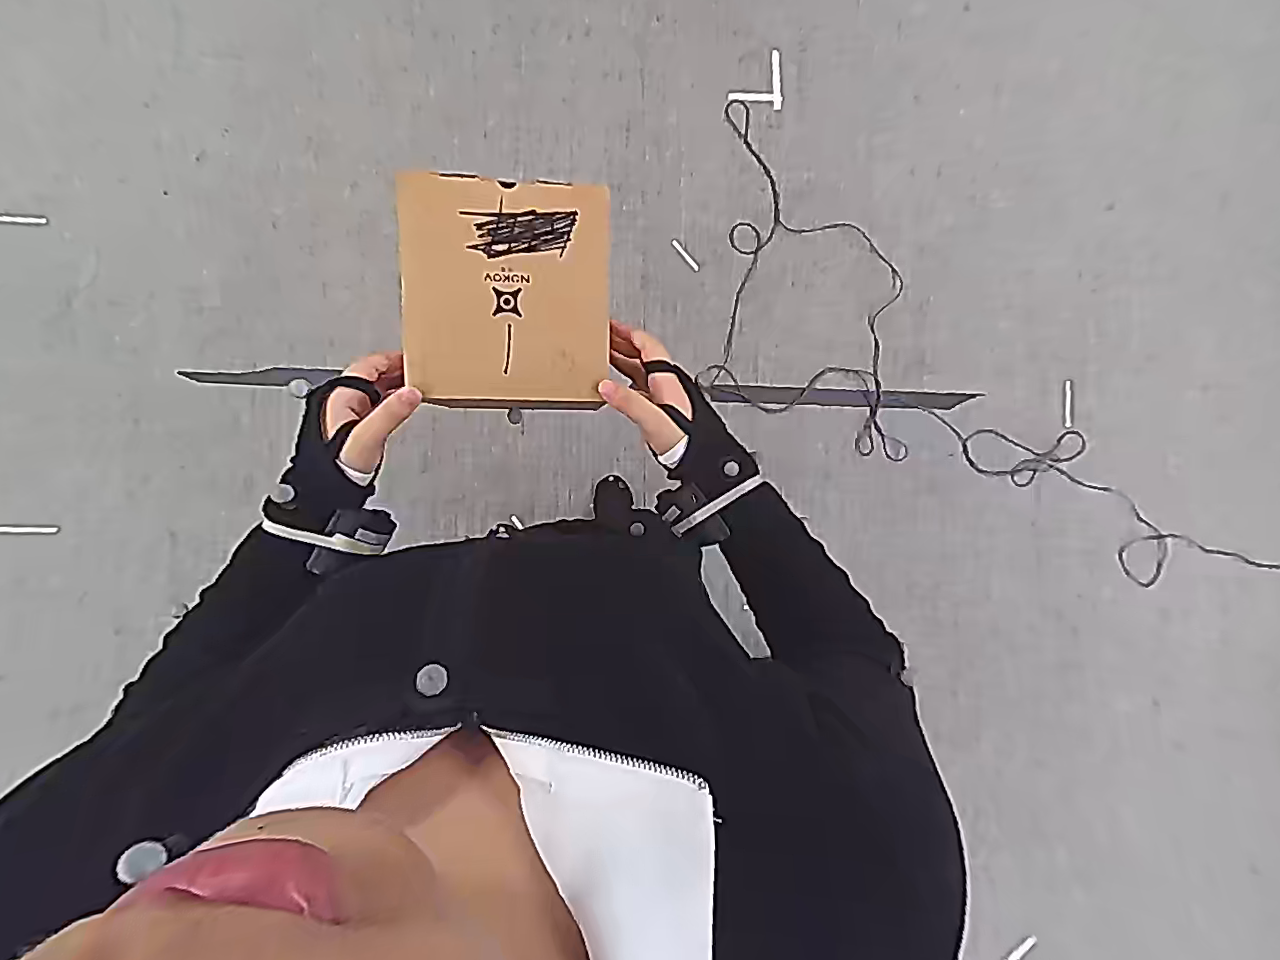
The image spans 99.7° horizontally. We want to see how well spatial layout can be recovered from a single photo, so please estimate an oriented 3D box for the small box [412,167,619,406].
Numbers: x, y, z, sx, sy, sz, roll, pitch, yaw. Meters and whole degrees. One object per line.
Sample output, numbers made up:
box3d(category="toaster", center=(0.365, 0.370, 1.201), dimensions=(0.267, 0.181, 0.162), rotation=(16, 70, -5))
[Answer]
box3d(category="small box", center=(-0.110, -0.165, 0.517), dimensions=(0.168, 0.176, 0.179), rotation=(0, 96, -7))
